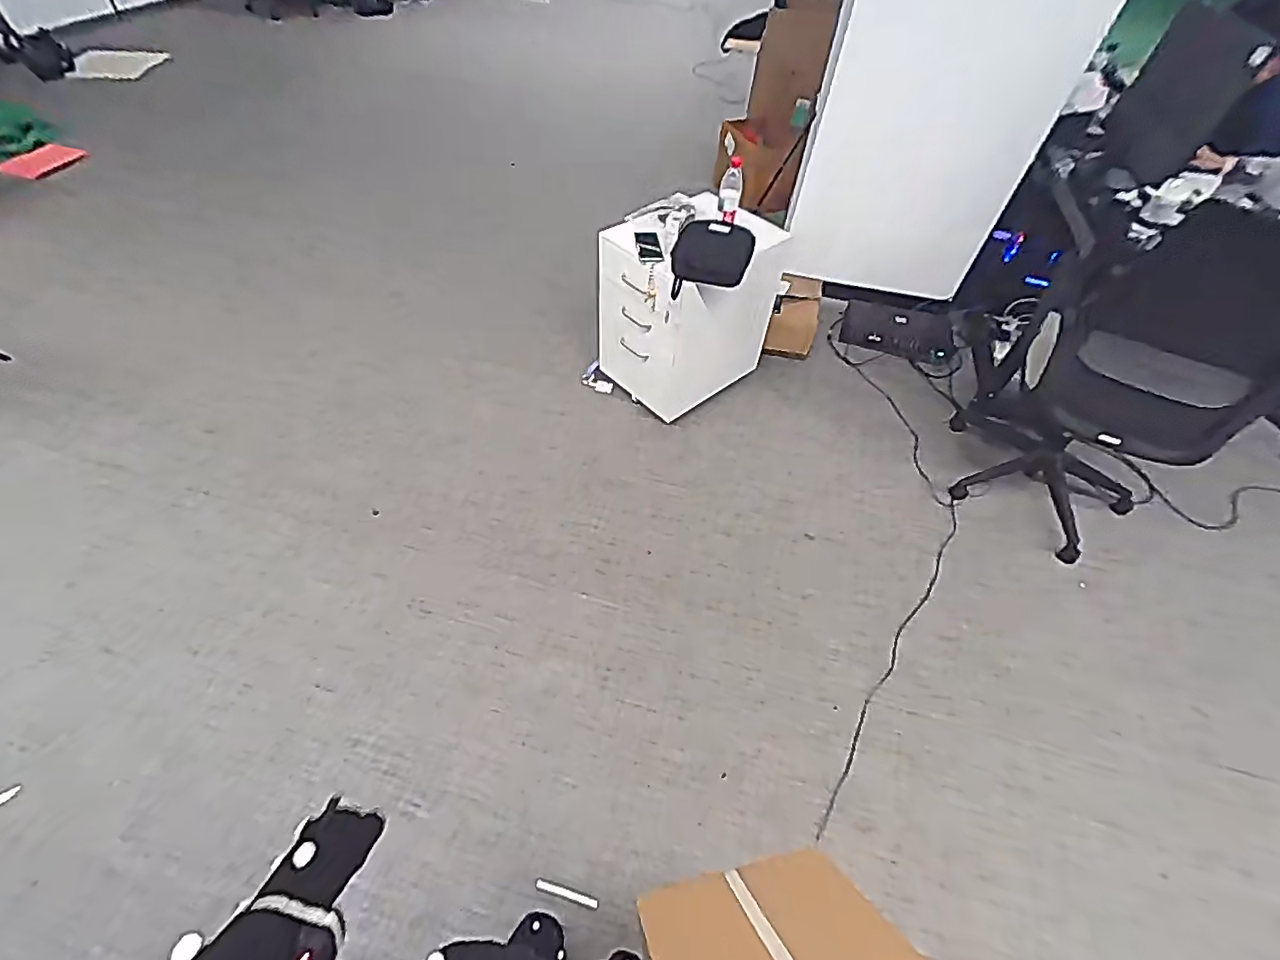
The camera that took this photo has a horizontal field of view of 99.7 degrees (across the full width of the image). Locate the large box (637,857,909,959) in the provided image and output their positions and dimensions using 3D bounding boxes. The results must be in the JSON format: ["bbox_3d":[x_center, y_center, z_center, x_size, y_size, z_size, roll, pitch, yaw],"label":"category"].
[{"bbox_3d":[0.200,0.765,0.664,0.320,0.408,0.320,-8,84,-11],"label":"large box"}]
